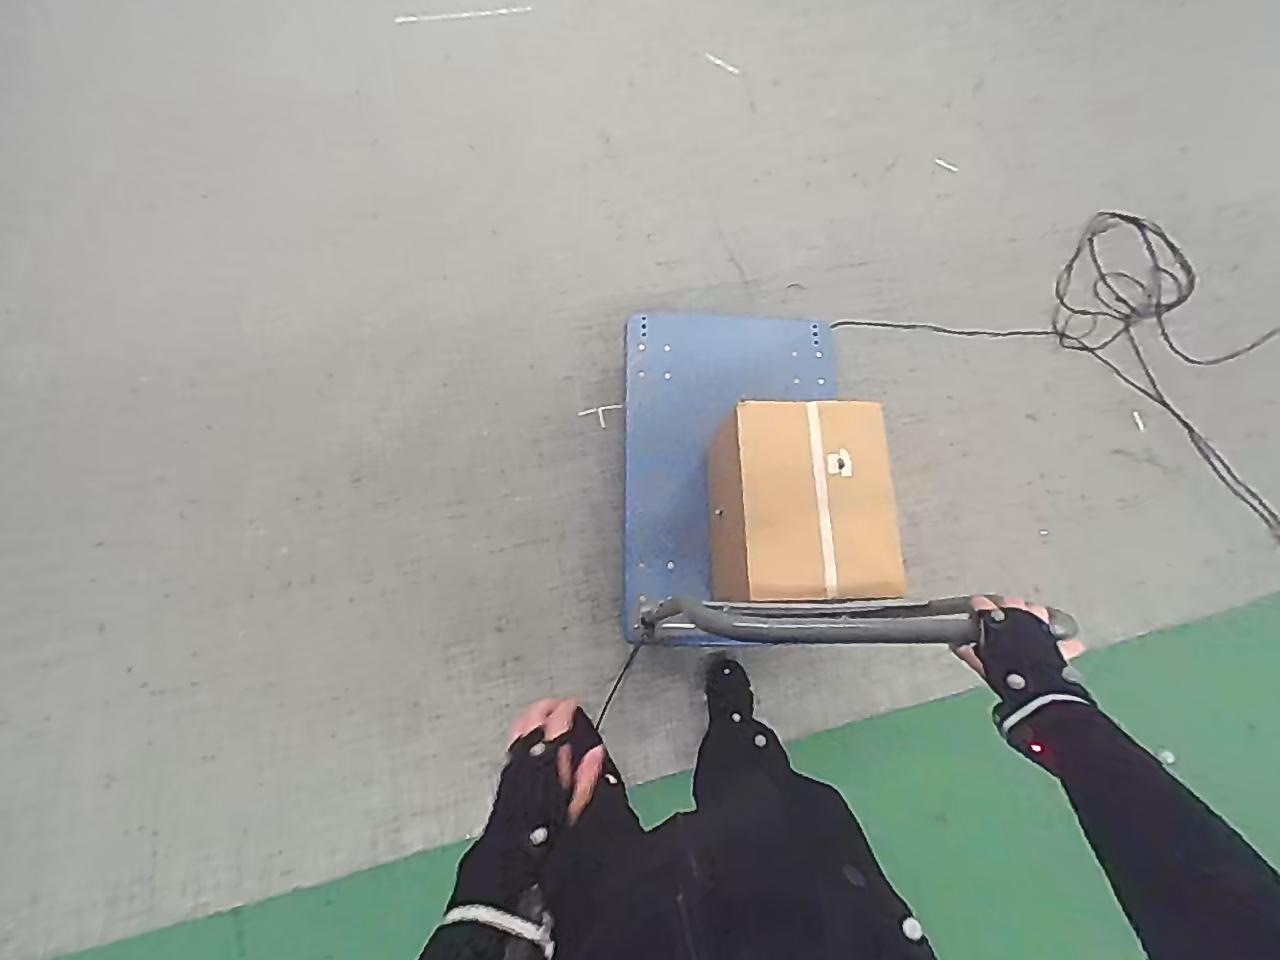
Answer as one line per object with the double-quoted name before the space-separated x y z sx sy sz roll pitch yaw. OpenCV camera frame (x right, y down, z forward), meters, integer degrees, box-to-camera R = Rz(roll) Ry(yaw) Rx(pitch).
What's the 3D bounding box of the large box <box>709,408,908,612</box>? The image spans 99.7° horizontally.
"large box" 0.345 0.084 1.217 0.320 0.320 0.408 0 75 -6
